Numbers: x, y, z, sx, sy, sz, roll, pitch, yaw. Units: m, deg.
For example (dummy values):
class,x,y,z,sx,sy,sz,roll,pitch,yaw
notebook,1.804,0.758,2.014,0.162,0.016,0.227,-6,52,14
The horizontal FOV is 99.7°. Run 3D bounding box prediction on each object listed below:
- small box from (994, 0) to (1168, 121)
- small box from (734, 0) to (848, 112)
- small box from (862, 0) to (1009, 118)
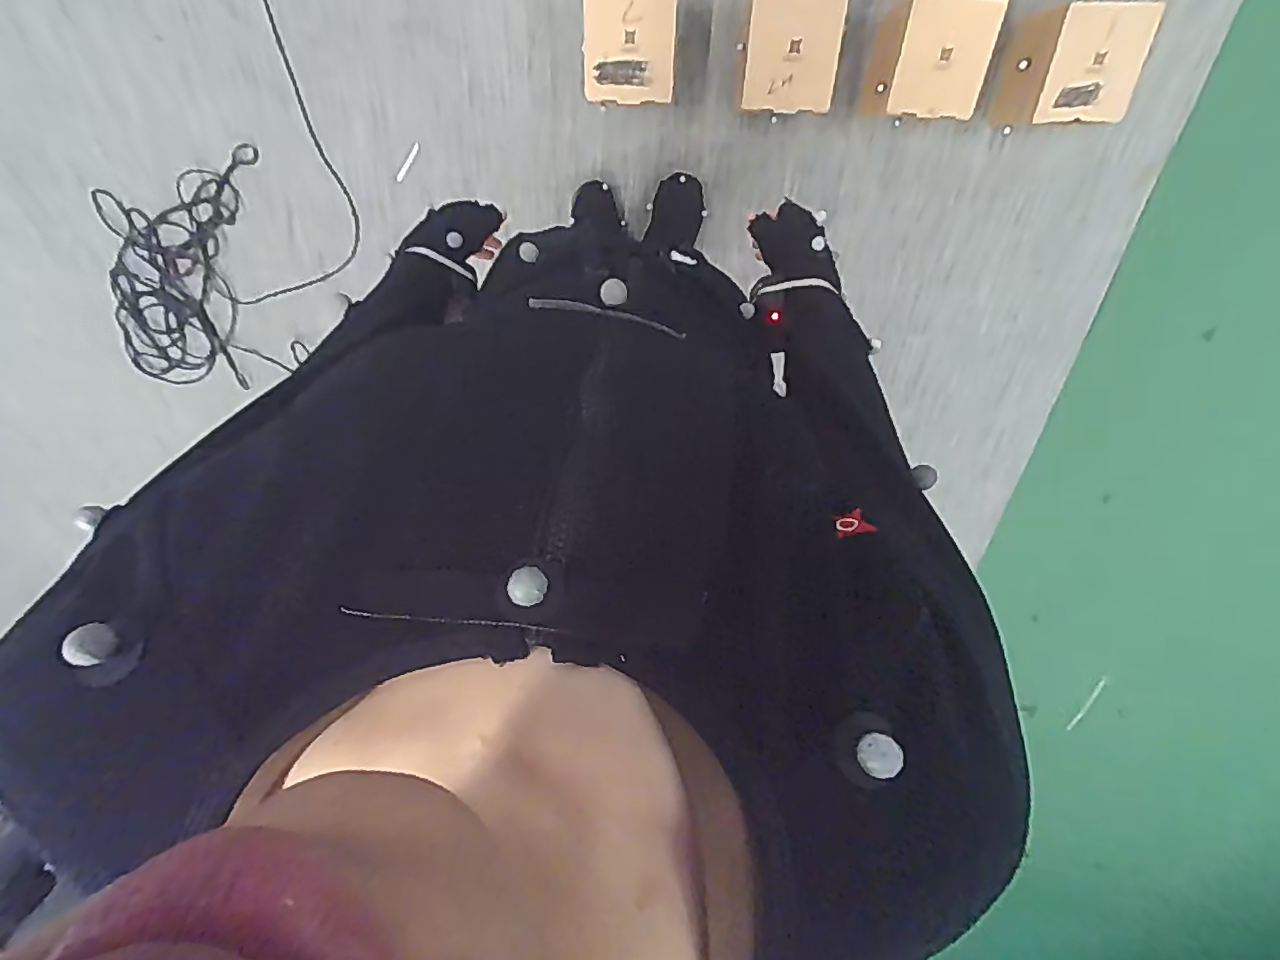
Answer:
class,x,y,z,sx,sy,sz,roll,pitch,yaw
small box,0.812,-0.788,1.023,0.168,0.176,0.179,1,121,1
small box,0.275,-0.811,1.023,0.168,0.176,0.179,3,122,2
small box,0.543,-0.801,1.024,0.168,0.176,0.179,4,122,-1
